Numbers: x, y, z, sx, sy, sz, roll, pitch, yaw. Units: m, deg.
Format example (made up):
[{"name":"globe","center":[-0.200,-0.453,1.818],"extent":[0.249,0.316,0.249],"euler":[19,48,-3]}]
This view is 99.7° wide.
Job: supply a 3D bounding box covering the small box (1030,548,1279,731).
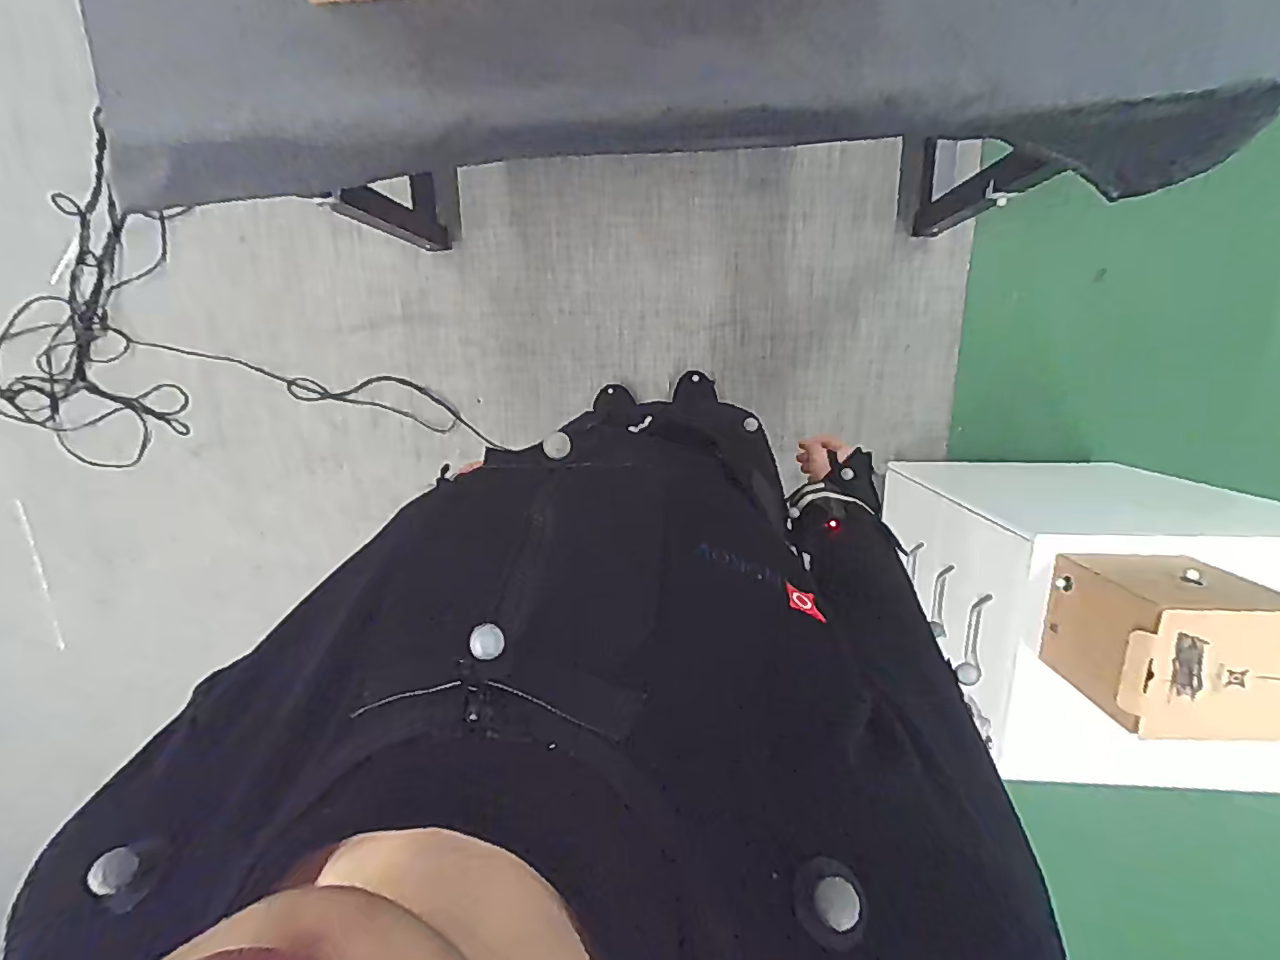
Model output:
[{"name":"small box","center":[0.646,0.192,0.691],"extent":[0.179,0.176,0.168],"euler":[0,104,2]}]
